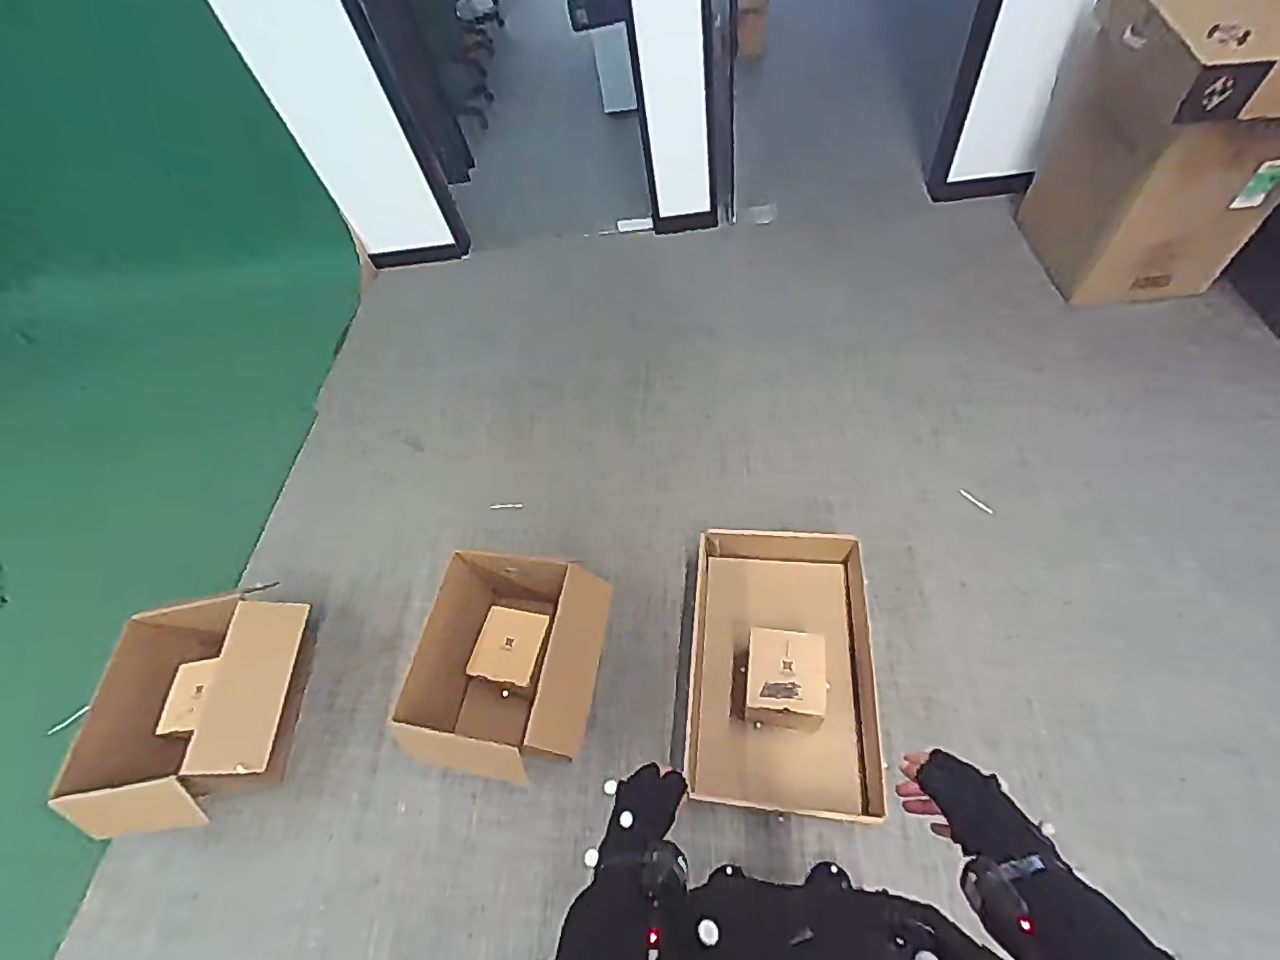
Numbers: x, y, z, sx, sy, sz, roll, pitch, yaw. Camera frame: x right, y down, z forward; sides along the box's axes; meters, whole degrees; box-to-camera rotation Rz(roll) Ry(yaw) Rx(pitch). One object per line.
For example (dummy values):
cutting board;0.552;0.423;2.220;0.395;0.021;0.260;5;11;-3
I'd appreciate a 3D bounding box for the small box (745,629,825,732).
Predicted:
small box;0.328;0.461;1.234;0.168;0.176;0.179;4;55;12
